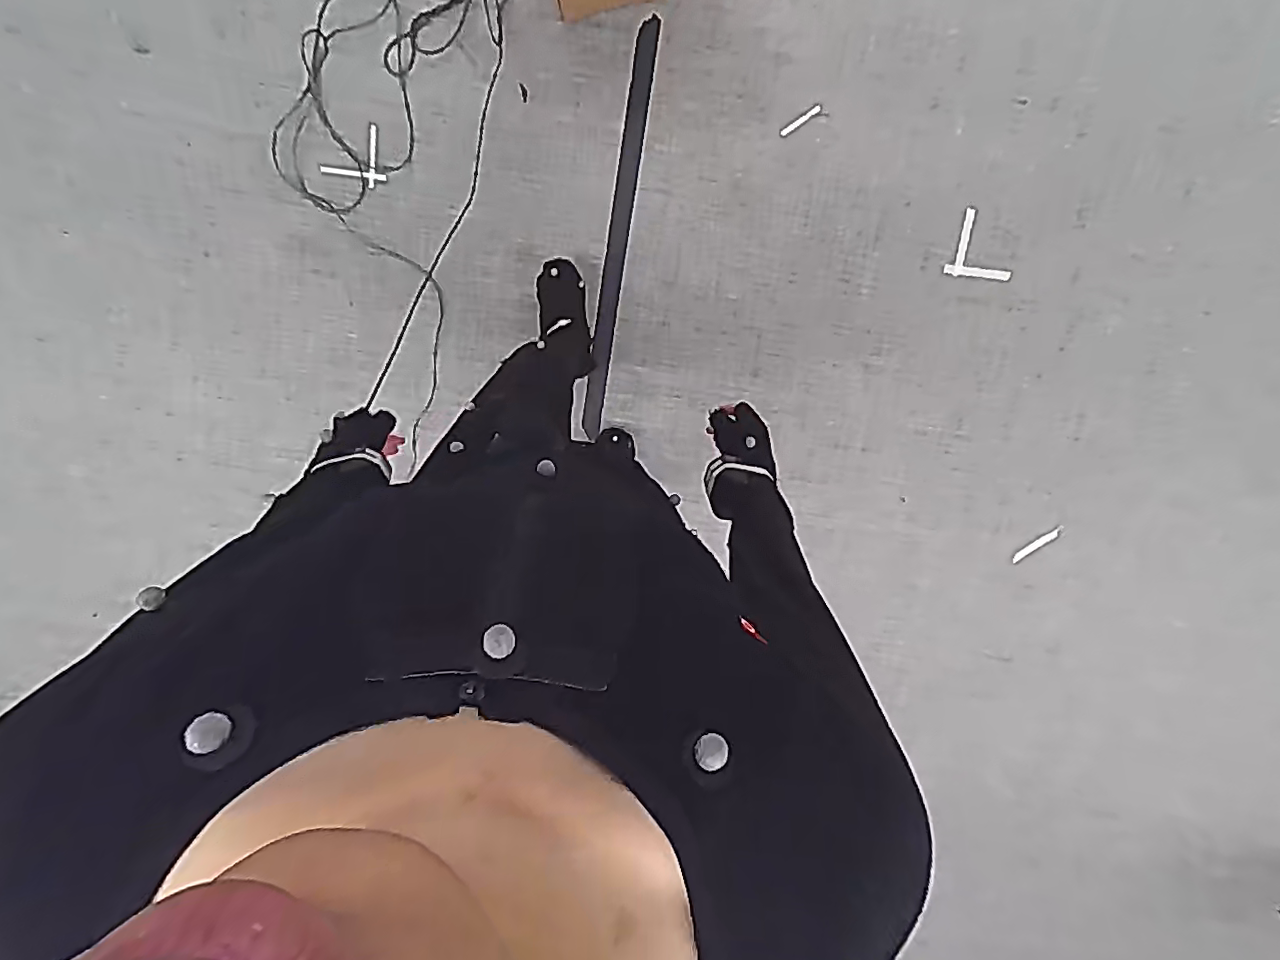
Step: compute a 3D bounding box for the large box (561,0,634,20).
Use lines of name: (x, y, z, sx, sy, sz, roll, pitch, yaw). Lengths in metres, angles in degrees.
large box: (-0.013, -1.204, 1.049, 0.408, 0.320, 0.320, -15, 104, 3)
